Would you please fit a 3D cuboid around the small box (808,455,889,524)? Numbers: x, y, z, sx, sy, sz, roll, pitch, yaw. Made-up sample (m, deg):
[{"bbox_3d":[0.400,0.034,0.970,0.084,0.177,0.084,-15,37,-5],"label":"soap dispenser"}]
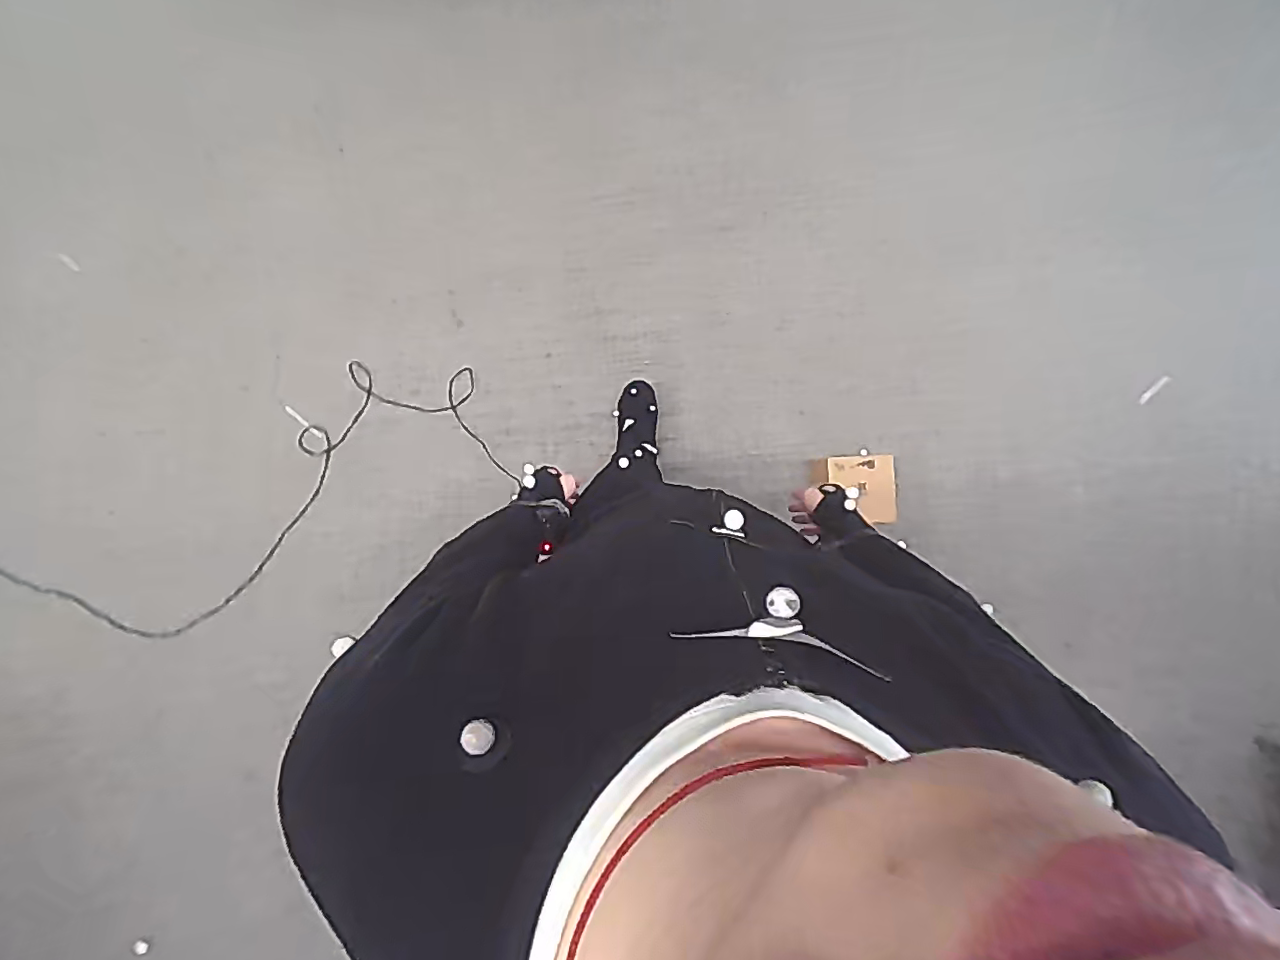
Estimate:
[{"bbox_3d":[0.559,0.021,1.463,0.168,0.176,0.179,-2,92,3],"label":"small box"}]
